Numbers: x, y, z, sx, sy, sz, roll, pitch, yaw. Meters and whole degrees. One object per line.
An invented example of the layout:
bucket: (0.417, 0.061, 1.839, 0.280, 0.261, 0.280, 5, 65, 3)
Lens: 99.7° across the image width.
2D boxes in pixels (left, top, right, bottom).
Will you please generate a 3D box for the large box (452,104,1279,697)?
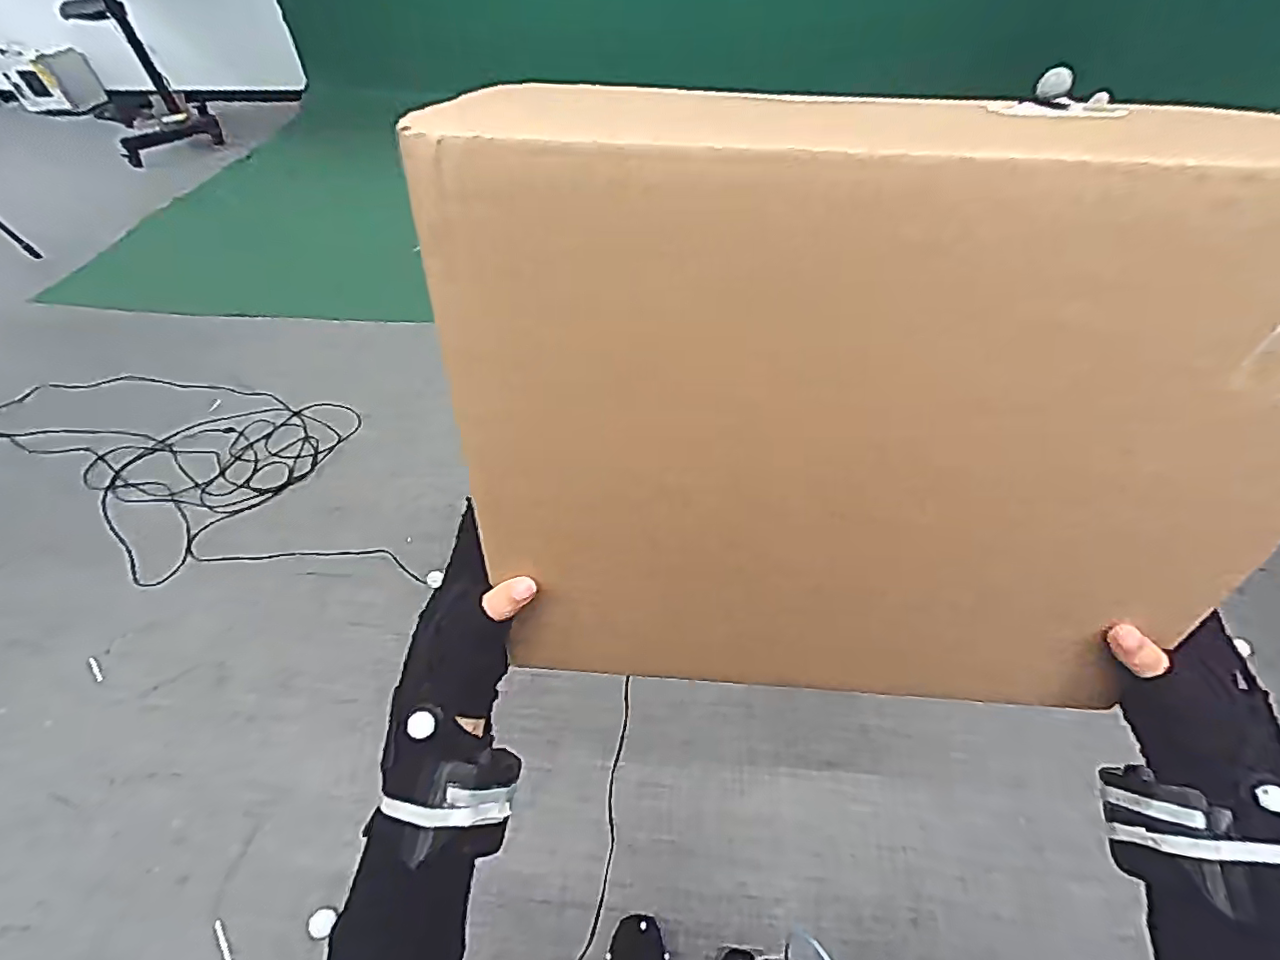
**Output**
large box: (0.127, -0.072, 0.394, 0.408, 0.320, 0.320, 4, 38, 1)
